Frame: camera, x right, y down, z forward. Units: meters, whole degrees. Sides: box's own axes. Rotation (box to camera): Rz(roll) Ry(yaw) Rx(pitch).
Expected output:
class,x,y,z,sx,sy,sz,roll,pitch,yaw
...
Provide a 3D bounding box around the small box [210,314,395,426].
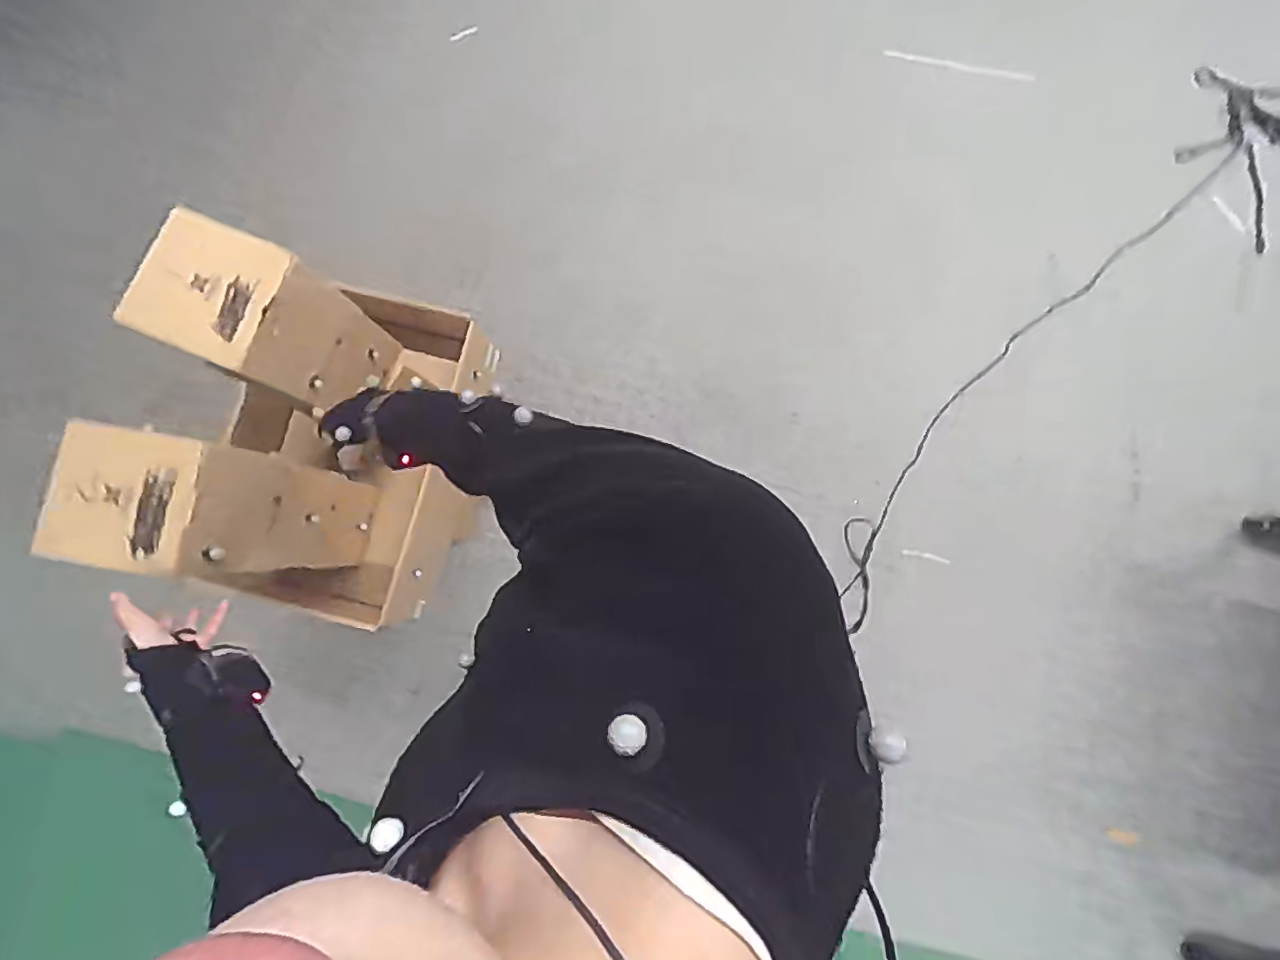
class,x,y,z,sx,sy,sz,roll,pitch,yaw
small box,-0.547,-0.200,0.906,0.179,0.176,0.168,19,83,2

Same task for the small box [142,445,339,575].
class,x,y,z,sx,sy,sz,roll,pitch,yaw
small box,-0.627,0.052,0.873,0.179,0.176,0.168,11,82,1

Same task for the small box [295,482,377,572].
class,x,y,z,sx,sy,sz,roll,pitch,yaw
small box,-0.643,0.077,1.035,0.179,0.176,0.168,10,84,1

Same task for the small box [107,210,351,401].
class,x,y,z,sx,sy,sz,roll,pitch,yaw
small box,-0.542,-0.224,0.744,0.179,0.176,0.168,22,83,3
